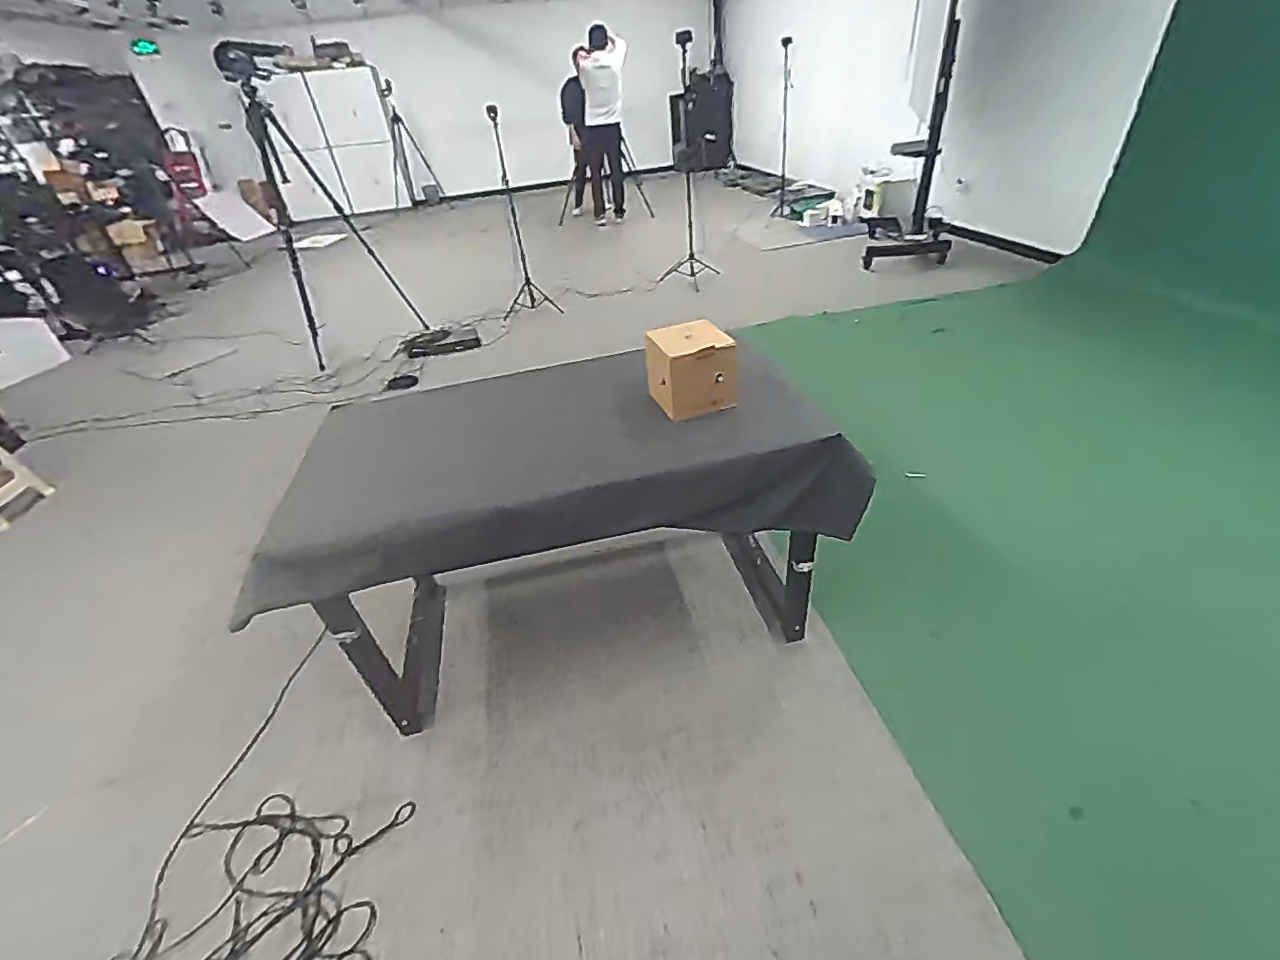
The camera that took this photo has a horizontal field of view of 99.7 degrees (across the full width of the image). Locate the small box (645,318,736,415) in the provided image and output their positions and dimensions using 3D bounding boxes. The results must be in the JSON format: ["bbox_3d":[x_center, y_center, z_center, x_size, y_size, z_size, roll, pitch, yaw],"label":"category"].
[{"bbox_3d":[0.121,-0.269,1.303,0.168,0.176,0.179,-15,36,-13],"label":"small box"}]
